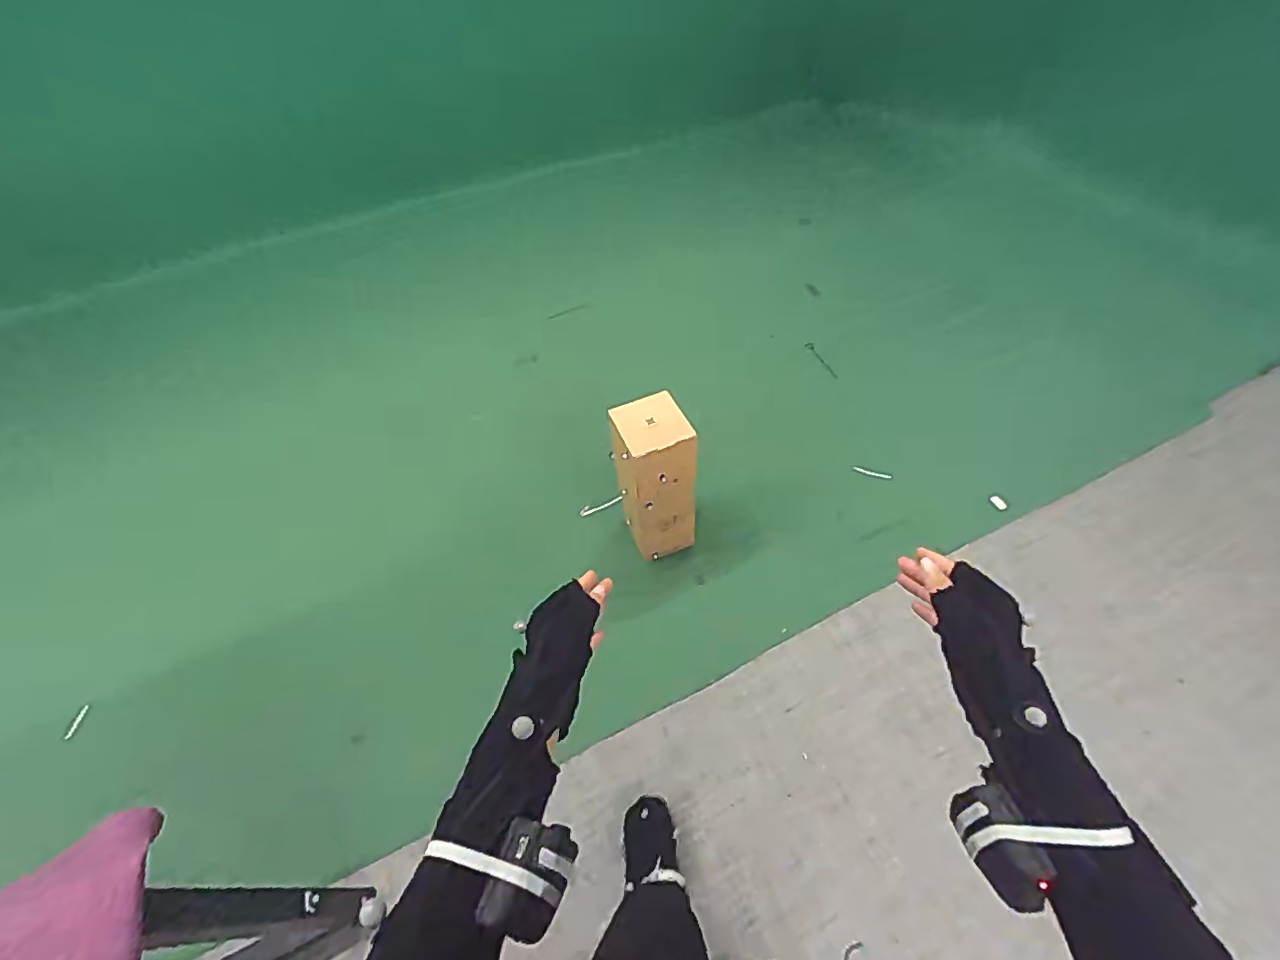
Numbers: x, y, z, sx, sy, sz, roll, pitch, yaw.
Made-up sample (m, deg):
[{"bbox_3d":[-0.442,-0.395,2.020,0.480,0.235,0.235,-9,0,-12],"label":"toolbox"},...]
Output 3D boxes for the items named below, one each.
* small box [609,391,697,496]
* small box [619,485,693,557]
[{"bbox_3d":[0.030,-0.090,1.372,0.168,0.176,0.179,-21,54,-12],"label":"small box"},{"bbox_3d":[0.049,0.112,1.630,0.168,0.176,0.179,-22,56,-12],"label":"small box"}]
